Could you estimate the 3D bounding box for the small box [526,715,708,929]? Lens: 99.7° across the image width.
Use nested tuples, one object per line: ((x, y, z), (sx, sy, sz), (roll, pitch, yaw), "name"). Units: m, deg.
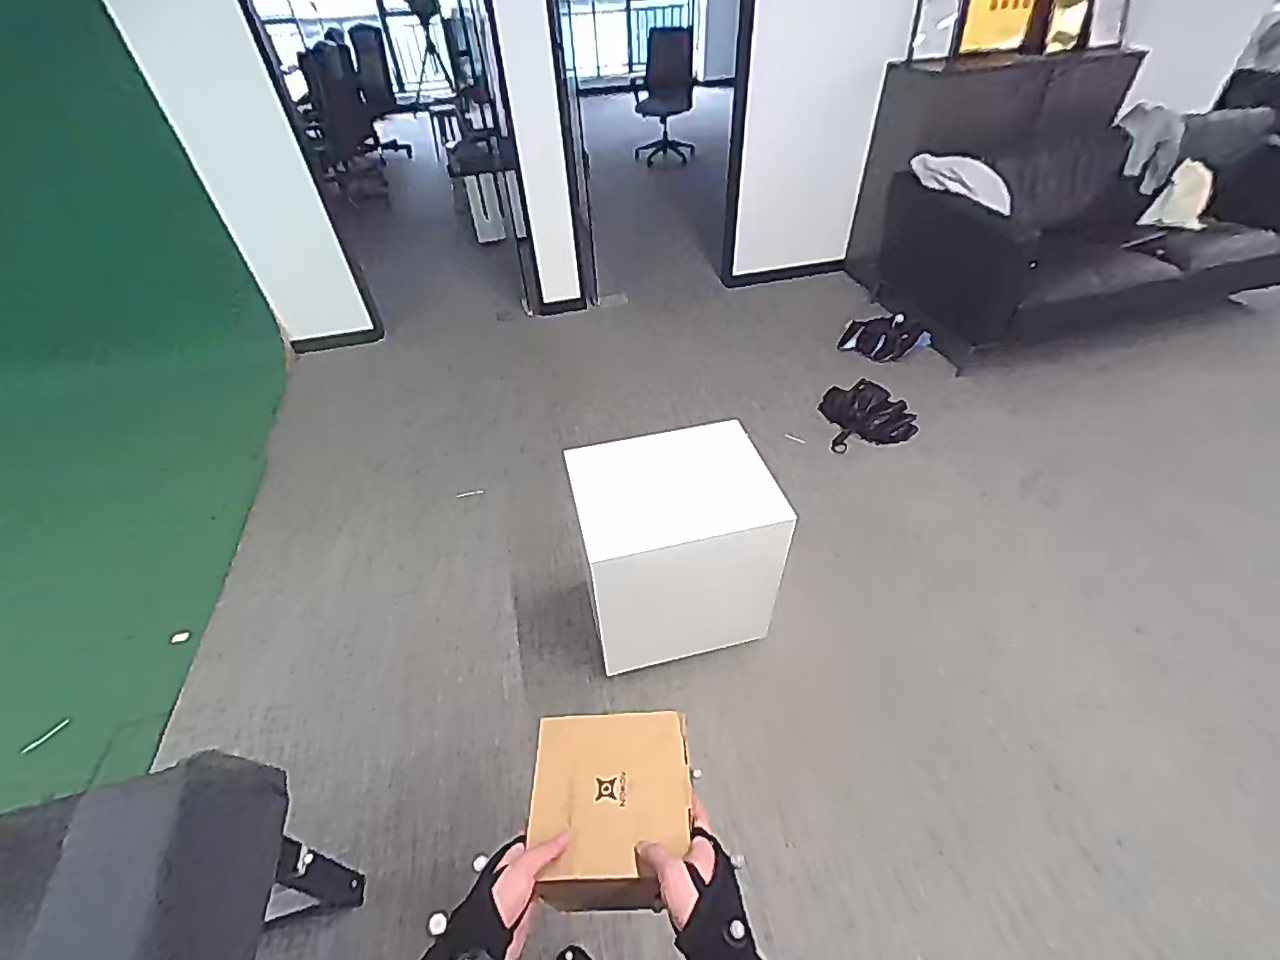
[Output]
((-0.020, 0.393, 0.623), (0.179, 0.176, 0.168), (-6, 41, 1), "small box")
